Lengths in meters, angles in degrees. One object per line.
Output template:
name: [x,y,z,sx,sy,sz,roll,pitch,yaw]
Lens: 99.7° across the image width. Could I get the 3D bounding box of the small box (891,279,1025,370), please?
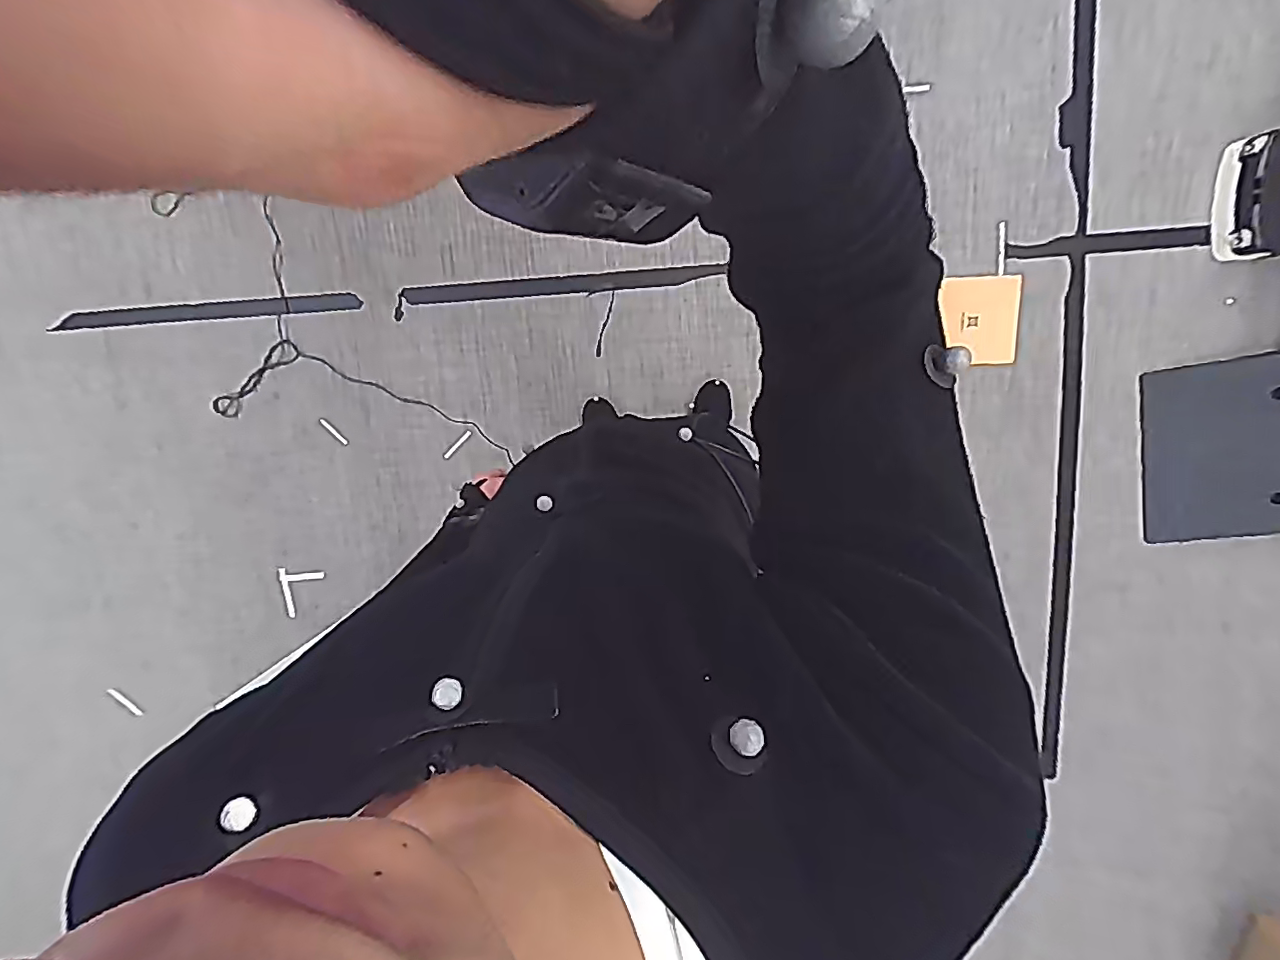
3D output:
small box: [0.641,-0.313,1.109,0.179,0.176,0.168,-1,101,5]
